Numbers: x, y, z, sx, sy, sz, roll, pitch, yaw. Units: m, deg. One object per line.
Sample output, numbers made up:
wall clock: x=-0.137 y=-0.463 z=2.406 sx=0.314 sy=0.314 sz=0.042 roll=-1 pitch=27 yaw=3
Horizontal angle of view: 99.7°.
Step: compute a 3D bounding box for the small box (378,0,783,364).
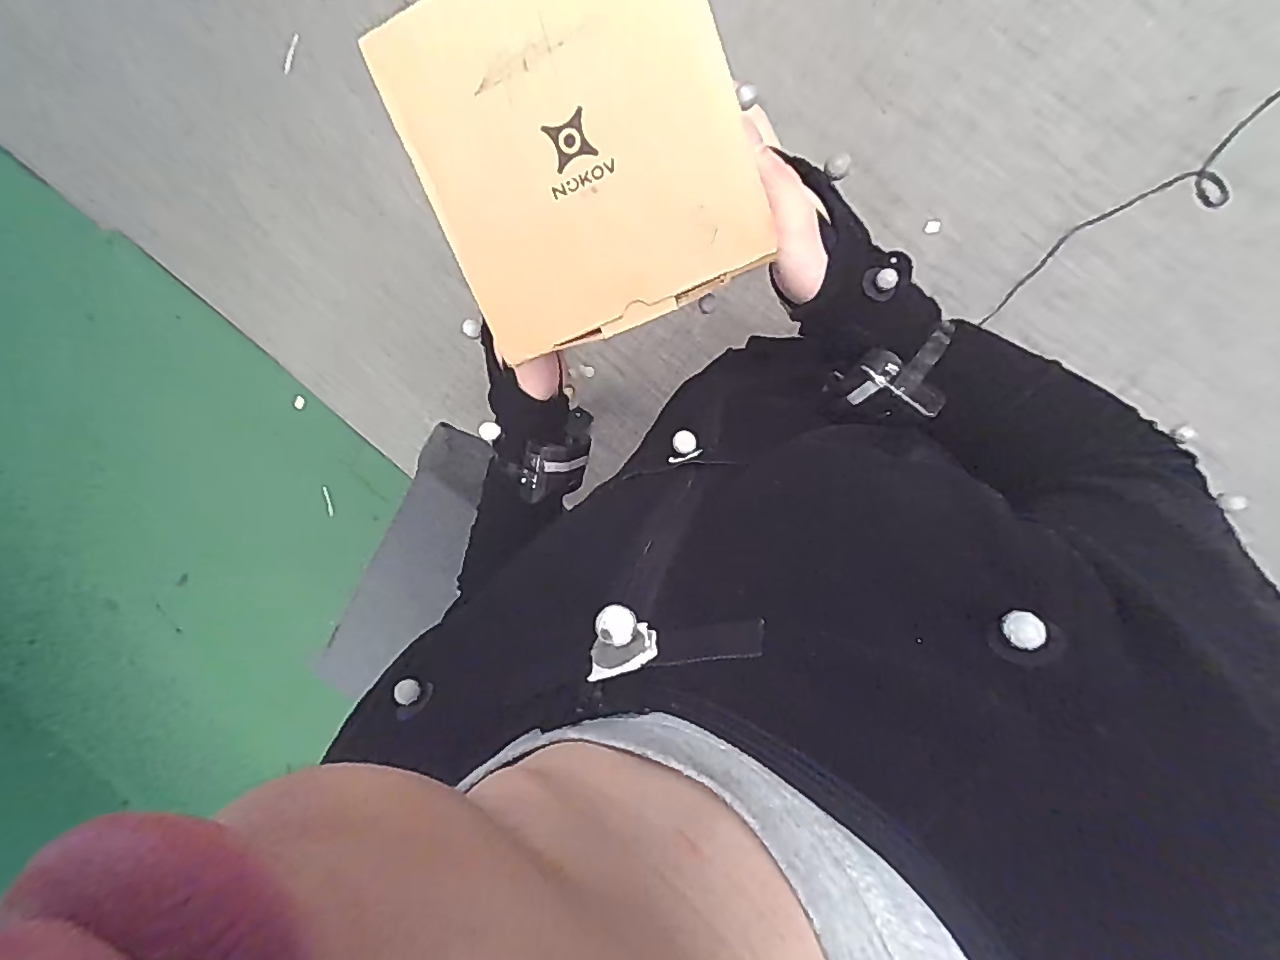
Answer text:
small box: x=-0.018 y=-0.195 z=0.352 sx=0.168 sy=0.176 sz=0.179 roll=-19 pitch=105 yaw=13
